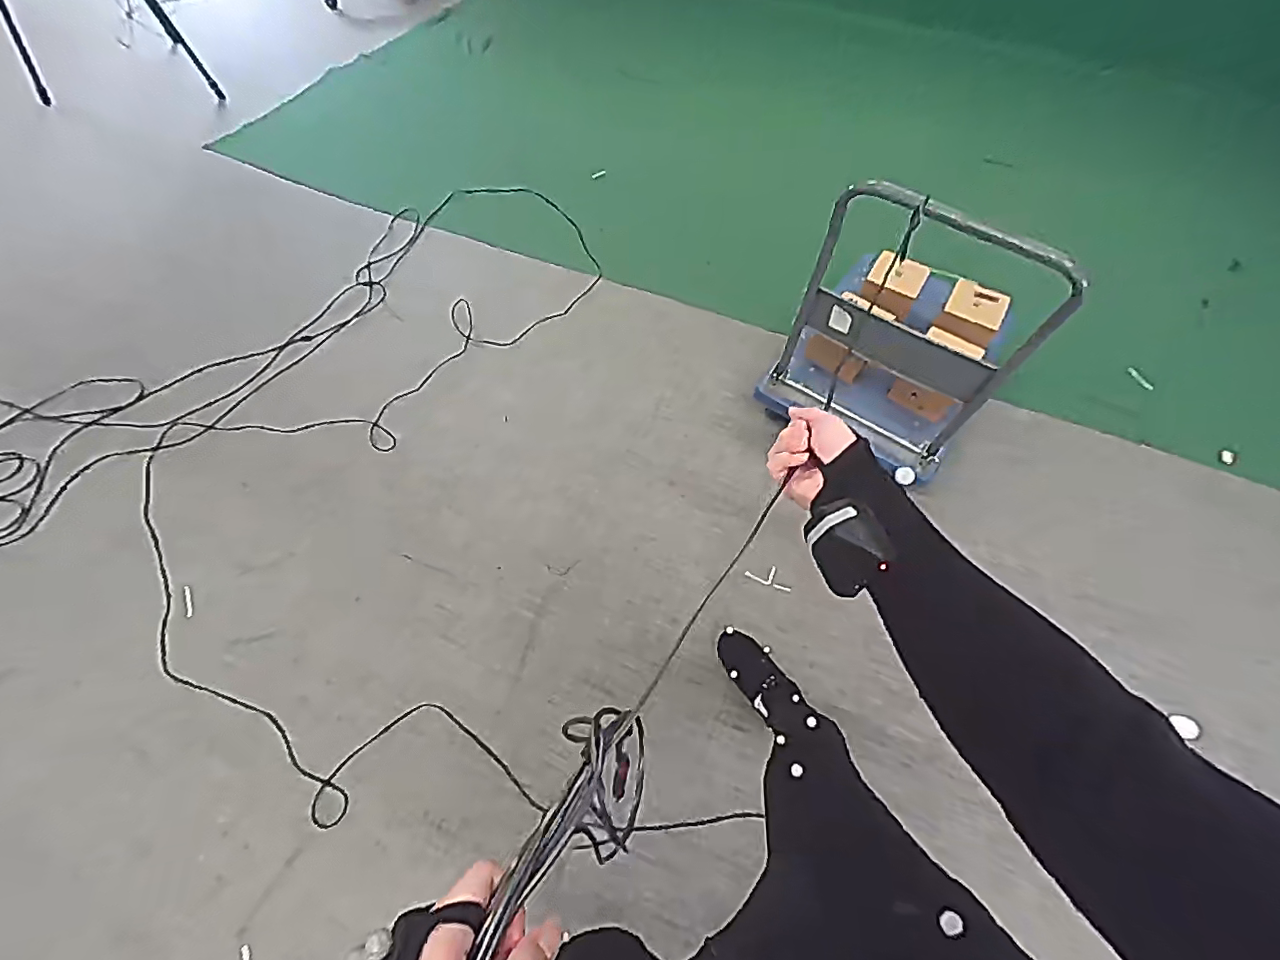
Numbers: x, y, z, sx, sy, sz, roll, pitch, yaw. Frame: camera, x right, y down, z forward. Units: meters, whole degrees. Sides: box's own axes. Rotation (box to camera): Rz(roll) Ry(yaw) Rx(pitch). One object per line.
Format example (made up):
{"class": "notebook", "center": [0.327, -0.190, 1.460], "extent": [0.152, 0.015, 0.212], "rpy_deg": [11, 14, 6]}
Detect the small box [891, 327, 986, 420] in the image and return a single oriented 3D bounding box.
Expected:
{"class": "small box", "center": [0.884, -0.315, 1.618], "extent": [0.168, 0.176, 0.179], "rpy_deg": [34, 64, 17]}

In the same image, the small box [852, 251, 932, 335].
{"class": "small box", "center": [0.831, -0.617, 1.799], "extent": [0.168, 0.176, 0.179], "rpy_deg": [30, 62, 14]}

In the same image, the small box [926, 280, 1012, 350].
{"class": "small box", "center": [1.044, -0.499, 1.734], "extent": [0.168, 0.176, 0.179], "rpy_deg": [29, 63, 16]}
